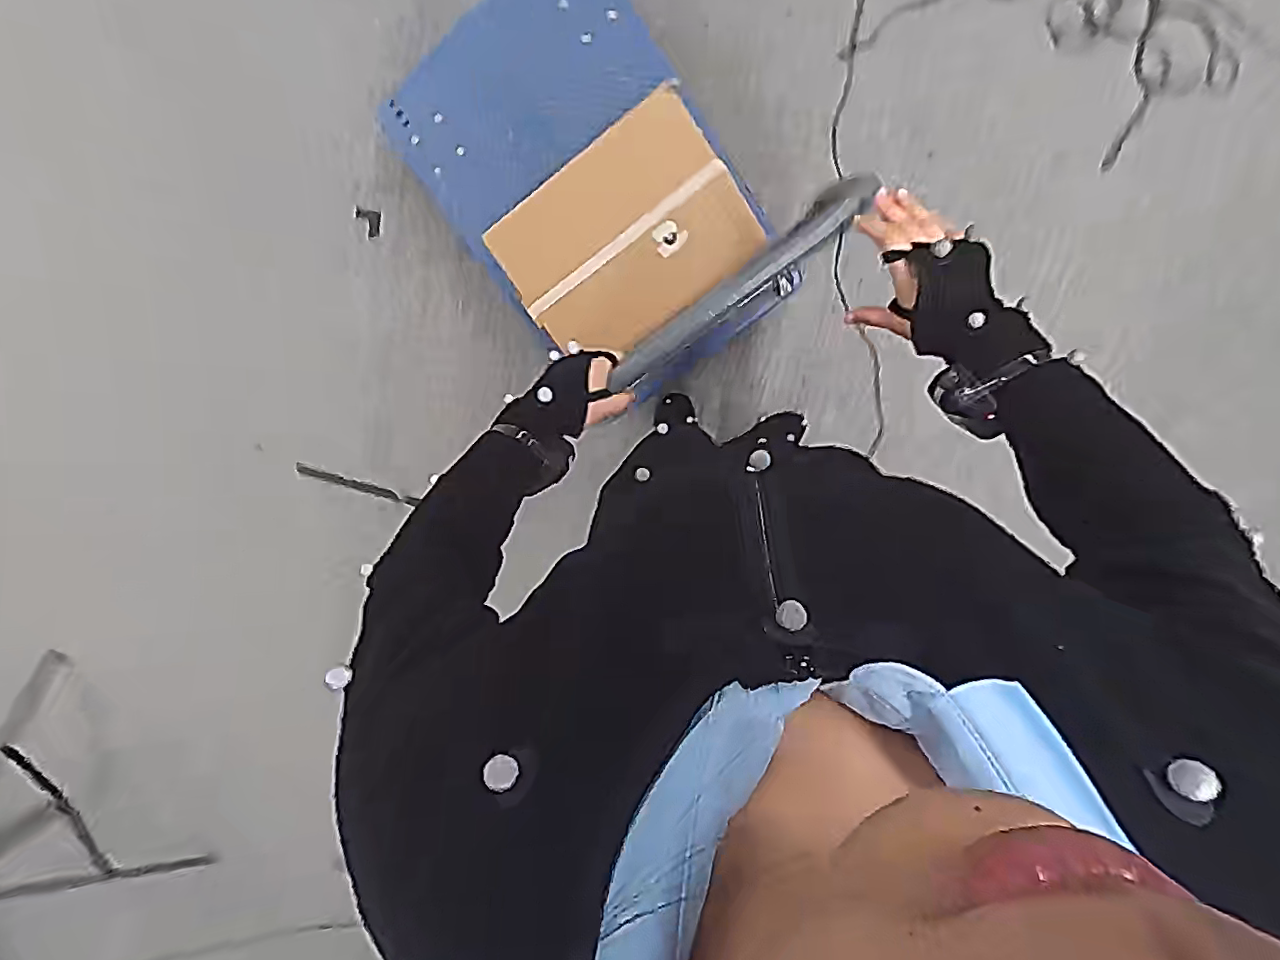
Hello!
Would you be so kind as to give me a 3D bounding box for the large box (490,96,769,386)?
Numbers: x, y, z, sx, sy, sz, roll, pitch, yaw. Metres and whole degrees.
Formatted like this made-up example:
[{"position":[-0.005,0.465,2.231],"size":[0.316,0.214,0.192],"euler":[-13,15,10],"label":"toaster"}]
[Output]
[{"position":[-0.014,-0.431,1.085],"size":[0.408,0.320,0.320],"euler":[-34,99,10],"label":"large box"}]
